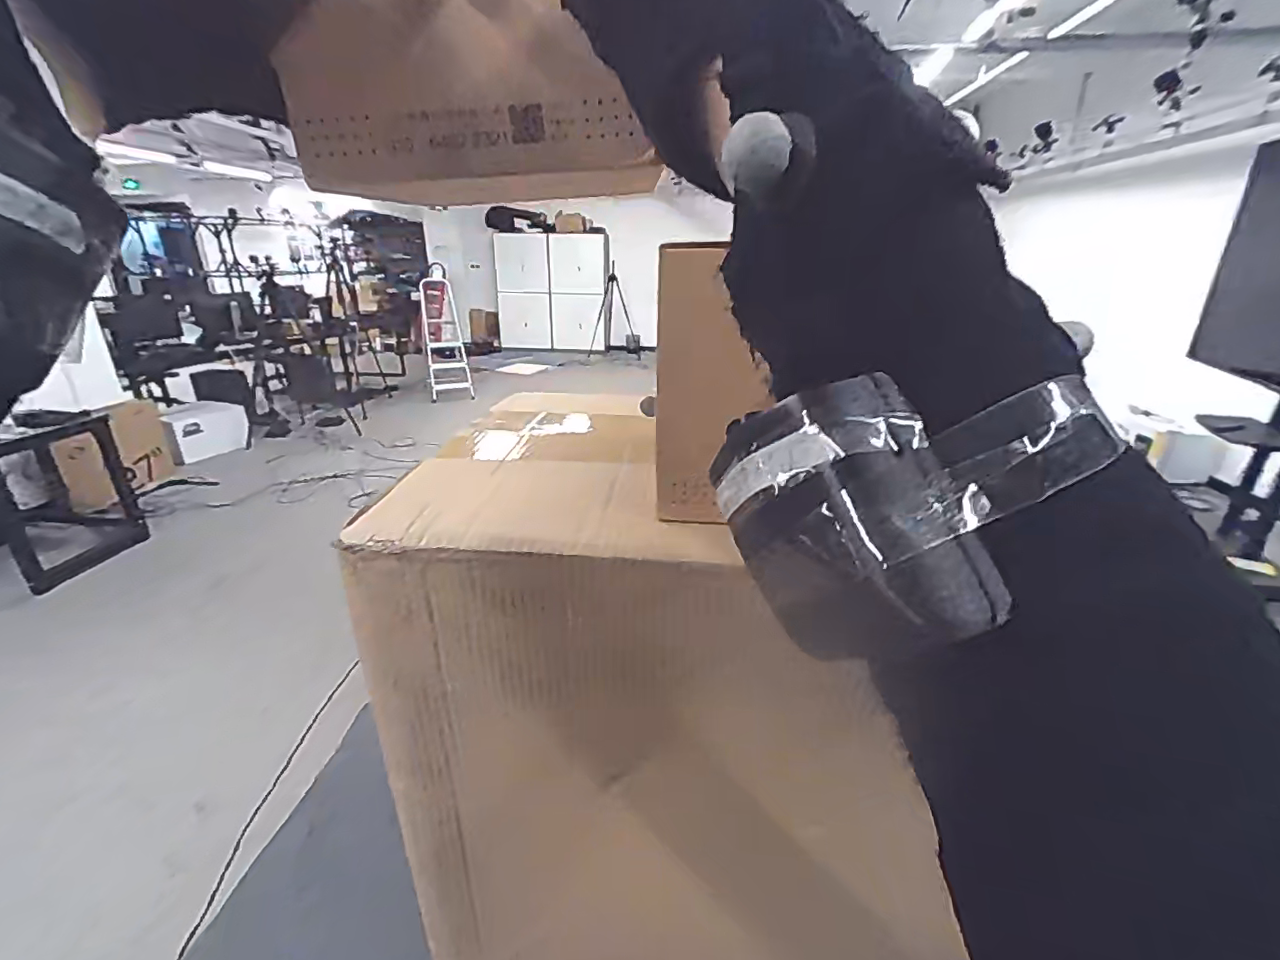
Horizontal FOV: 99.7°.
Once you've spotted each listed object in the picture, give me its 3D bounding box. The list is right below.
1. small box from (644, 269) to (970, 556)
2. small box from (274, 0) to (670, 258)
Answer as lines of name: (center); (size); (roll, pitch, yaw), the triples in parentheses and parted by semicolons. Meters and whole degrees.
small box: (0.098, -0.058, 0.397); (0.179, 0.176, 0.168); (2, 24, 6)
small box: (-0.075, -0.224, 0.306); (0.168, 0.176, 0.179); (-5, 24, -1)
